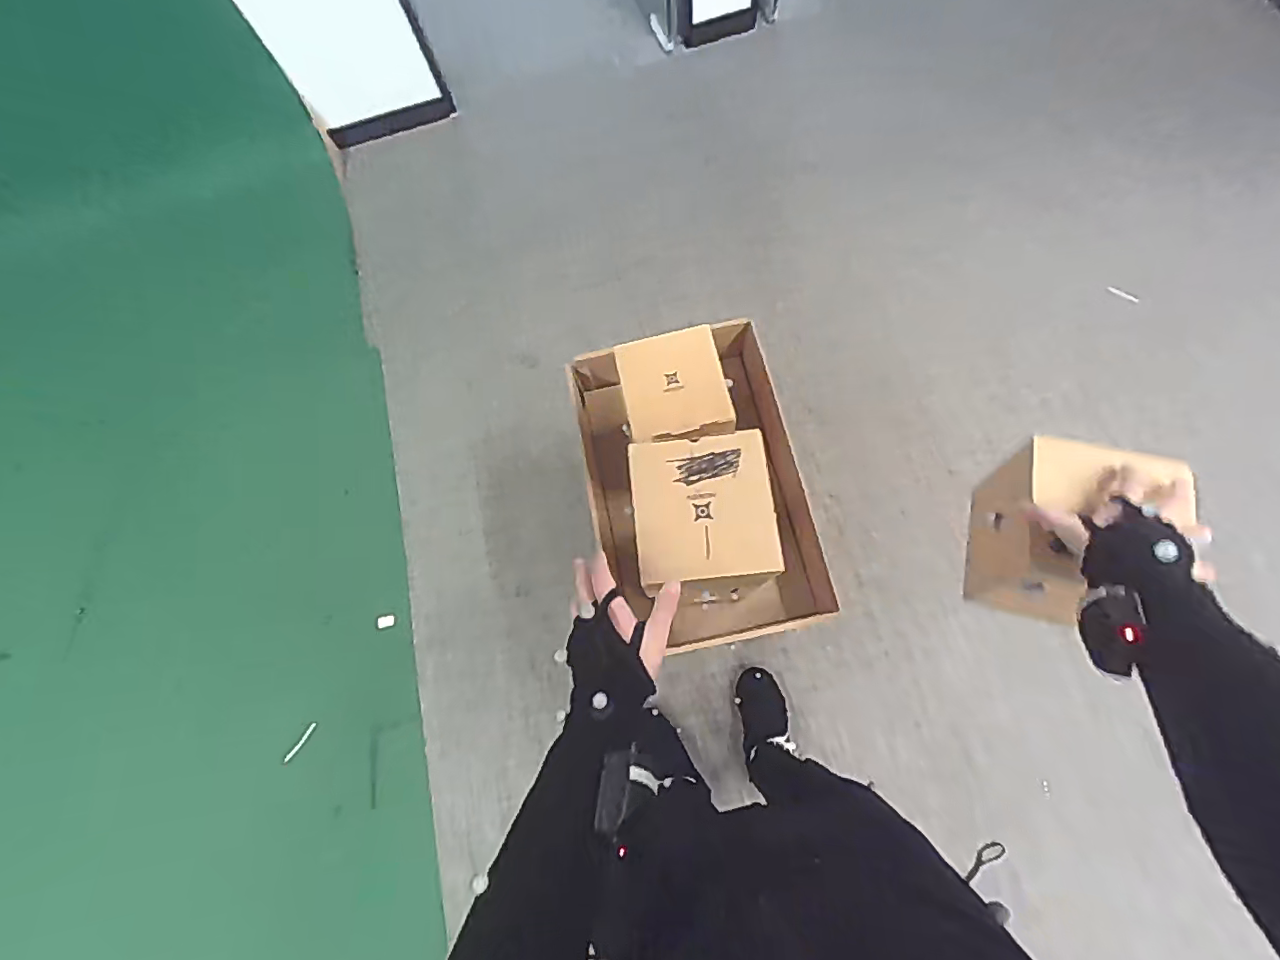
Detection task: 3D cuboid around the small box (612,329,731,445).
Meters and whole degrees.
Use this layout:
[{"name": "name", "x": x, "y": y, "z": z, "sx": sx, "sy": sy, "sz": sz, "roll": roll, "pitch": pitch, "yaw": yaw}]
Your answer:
[{"name": "small box", "x": 0.052, "y": -0.134, "z": 0.953, "sx": 0.168, "sy": 0.176, "sz": 0.179, "roll": -13, "pitch": 74, "yaw": 0}]

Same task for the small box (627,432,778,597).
[{"name": "small box", "x": 0.075, "y": 0.054, "z": 0.720, "sx": 0.168, "sy": 0.176, "sz": 0.179, "roll": -6, "pitch": 73, "yaw": 2}]
